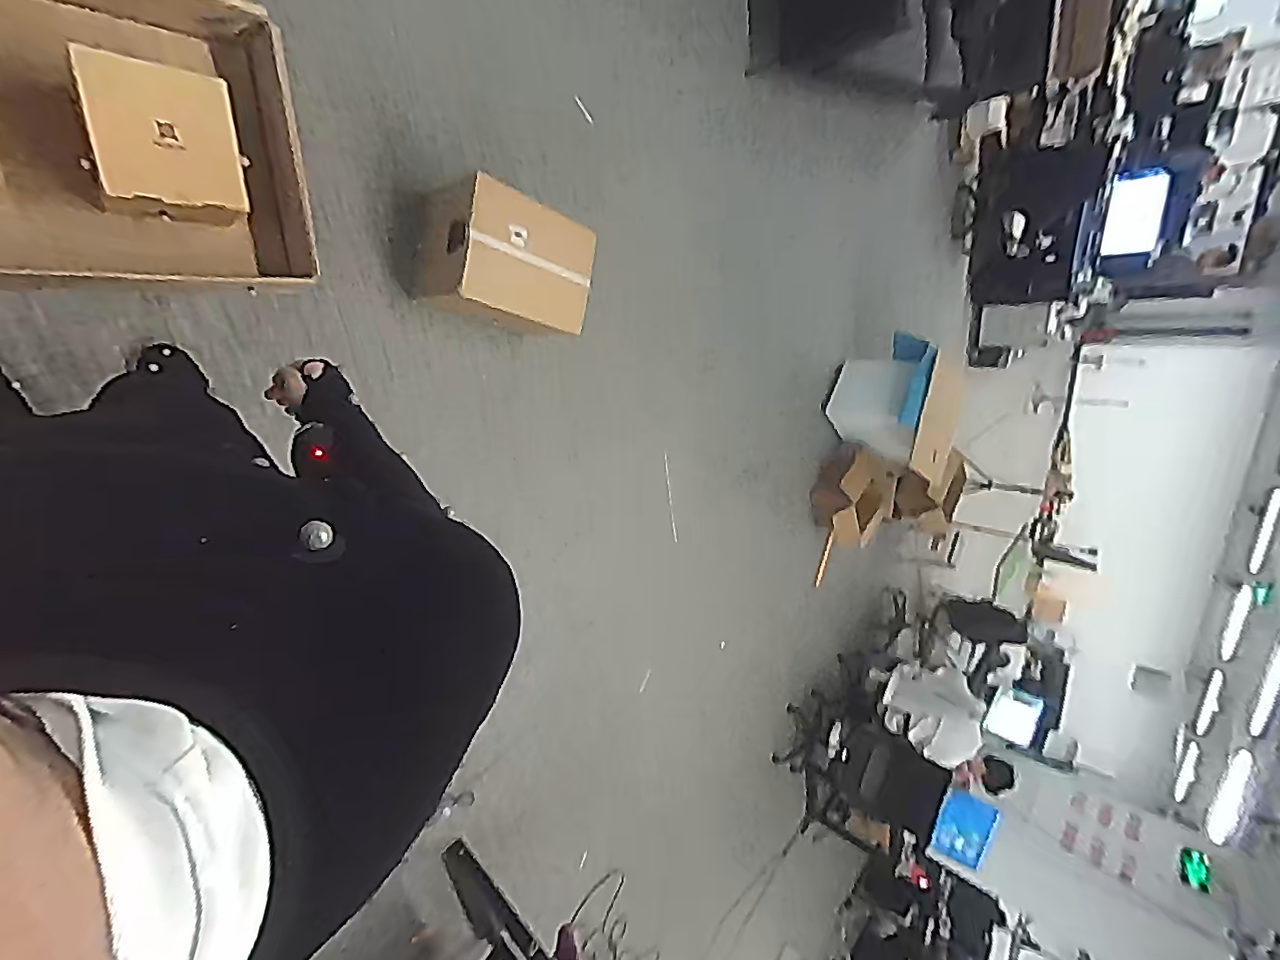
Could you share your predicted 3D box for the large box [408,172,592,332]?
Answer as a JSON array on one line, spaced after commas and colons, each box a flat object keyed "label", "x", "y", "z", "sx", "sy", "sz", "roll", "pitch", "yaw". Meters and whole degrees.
[{"label": "large box", "x": -0.412, "y": -0.641, "z": 1.604, "sx": 0.408, "sy": 0.320, "sz": 0.320, "roll": 6, "pitch": 96, "yaw": -46}]

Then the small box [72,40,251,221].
[{"label": "small box", "x": -0.716, "y": -0.503, "z": 0.811, "sx": 0.168, "sy": 0.176, "sz": 0.179, "roll": -16, "pitch": 113, "yaw": -43}]
